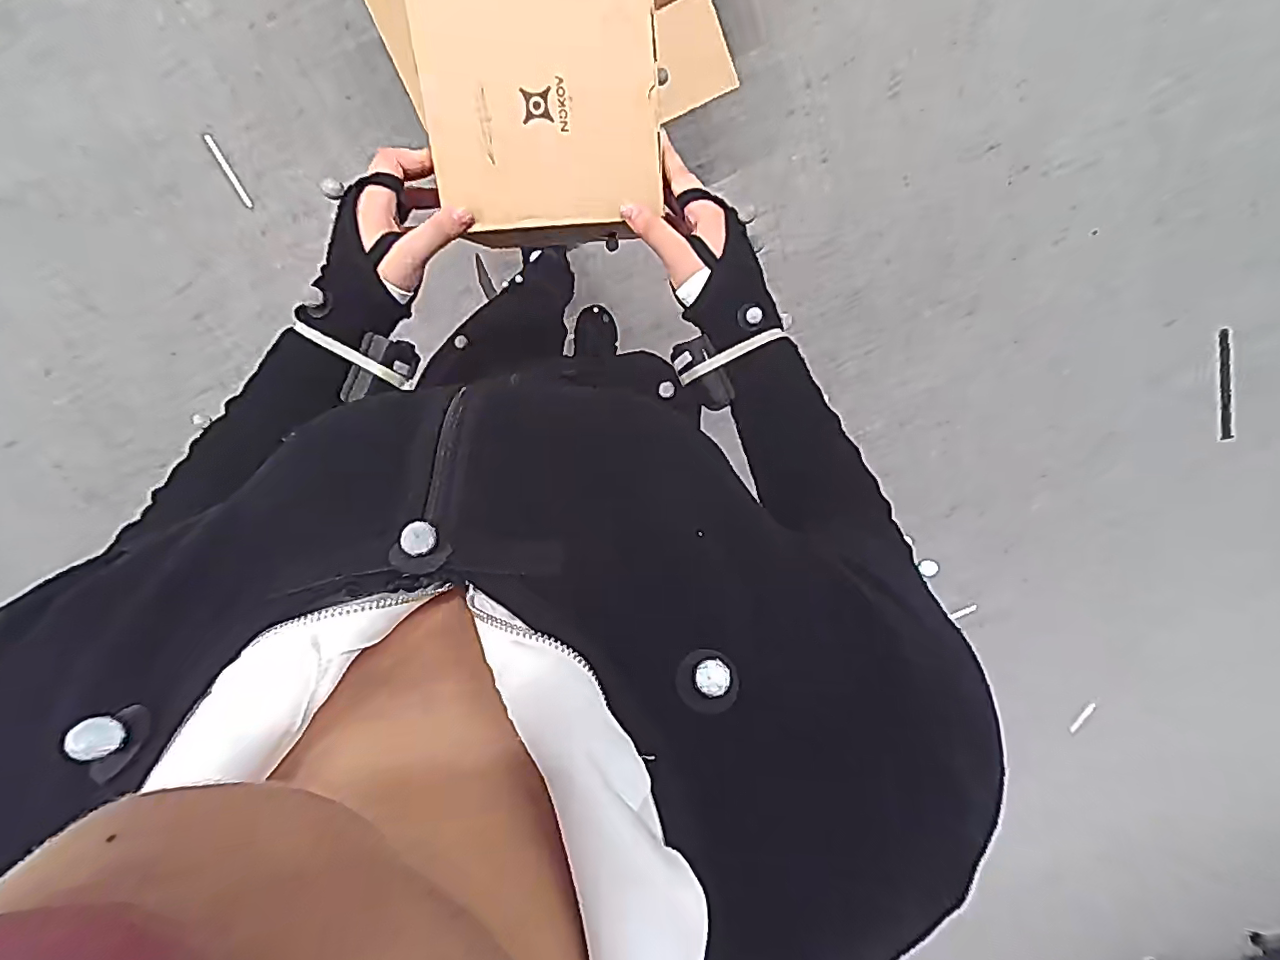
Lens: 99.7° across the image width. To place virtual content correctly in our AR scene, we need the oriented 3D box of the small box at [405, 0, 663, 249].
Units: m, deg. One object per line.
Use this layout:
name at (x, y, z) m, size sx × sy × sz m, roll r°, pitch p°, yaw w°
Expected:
small box at (-0.077, -0.304, 0.479) m, size 0.179 × 0.176 × 0.168 m, roll -5°, pitch 108°, yaw 0°
